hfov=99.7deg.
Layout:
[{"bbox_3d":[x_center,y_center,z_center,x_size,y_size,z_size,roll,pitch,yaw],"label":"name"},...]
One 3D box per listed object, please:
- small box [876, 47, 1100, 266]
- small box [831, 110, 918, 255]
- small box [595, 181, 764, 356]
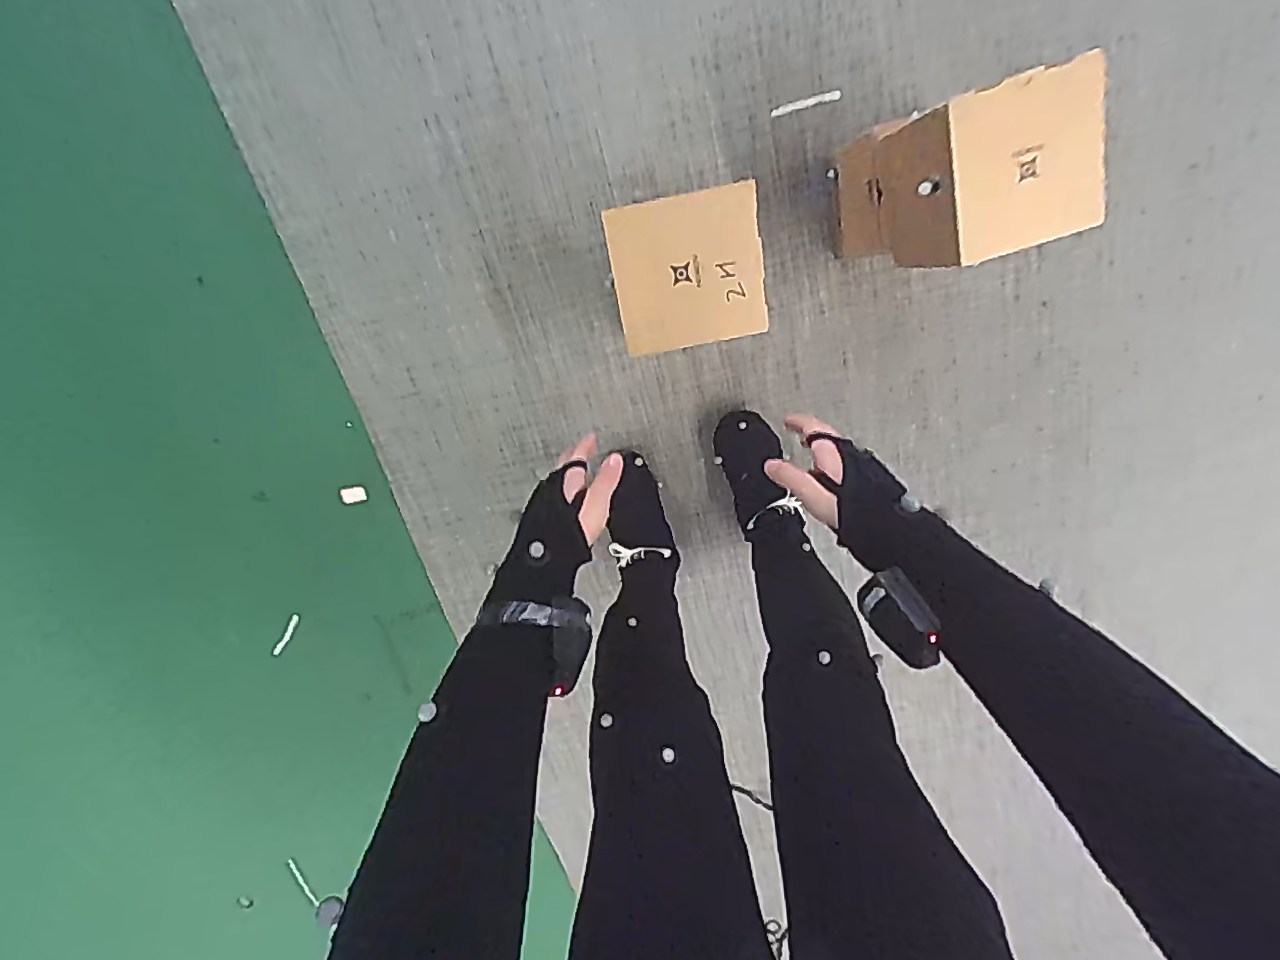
[{"bbox_3d":[0.416,-0.376,0.667,0.168,0.176,0.179,-17,109,4],"label":"small box"},{"bbox_3d":[0.401,-0.445,0.815,0.179,0.176,0.168,-13,110,3],"label":"small box"},{"bbox_3d":[0.047,-0.263,0.694,0.179,0.176,0.168,-11,110,2],"label":"small box"}]
